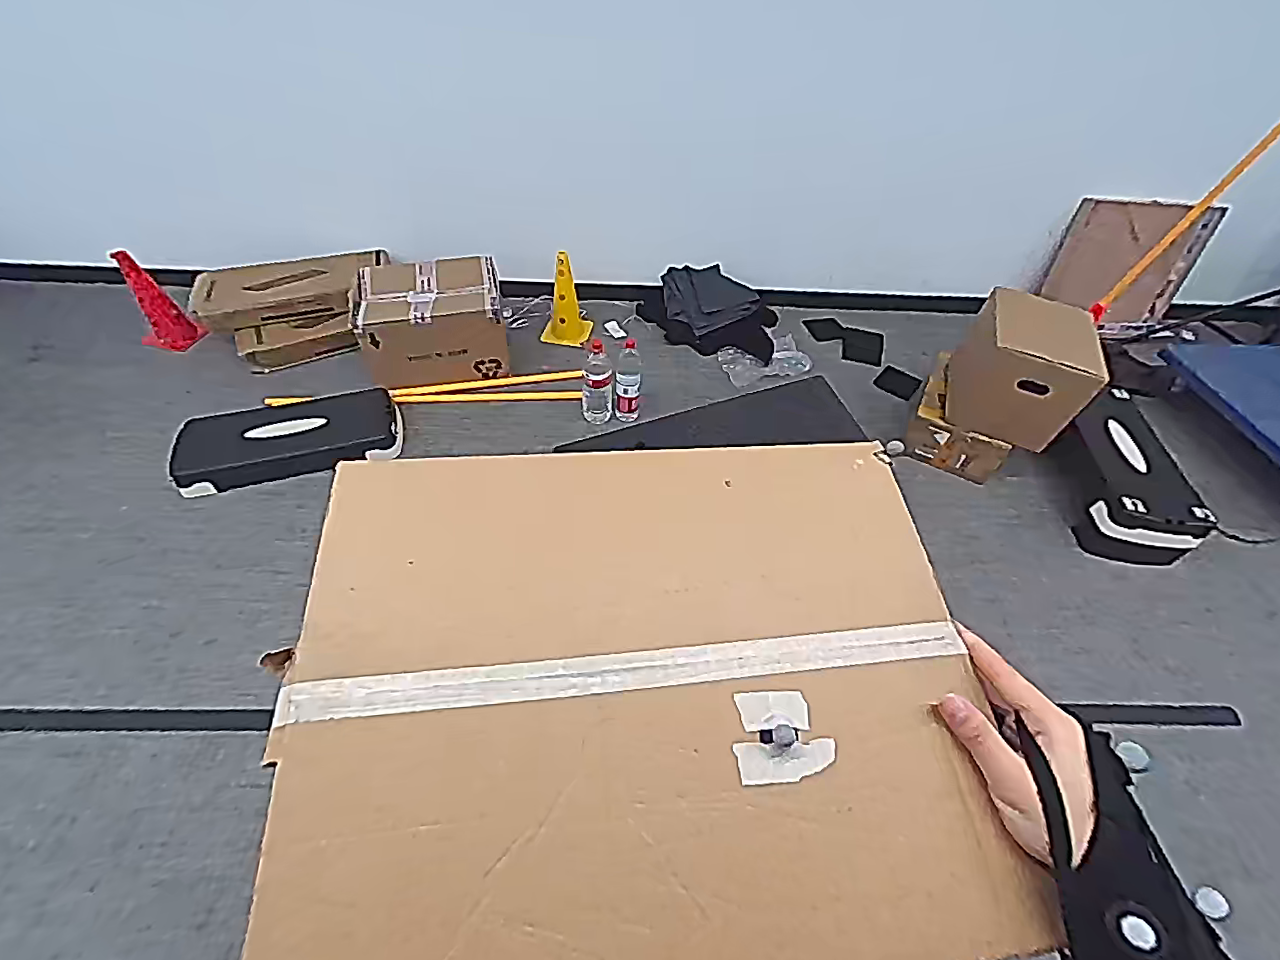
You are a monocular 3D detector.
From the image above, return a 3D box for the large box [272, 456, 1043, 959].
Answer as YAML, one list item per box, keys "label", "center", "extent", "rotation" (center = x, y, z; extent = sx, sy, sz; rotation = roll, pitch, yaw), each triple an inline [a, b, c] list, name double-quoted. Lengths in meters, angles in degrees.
- label: "large box"
  center: [-0.009, 0.196, 0.463]
  extent: [0.408, 0.320, 0.320]
  rotation: [-2, 61, -9]
